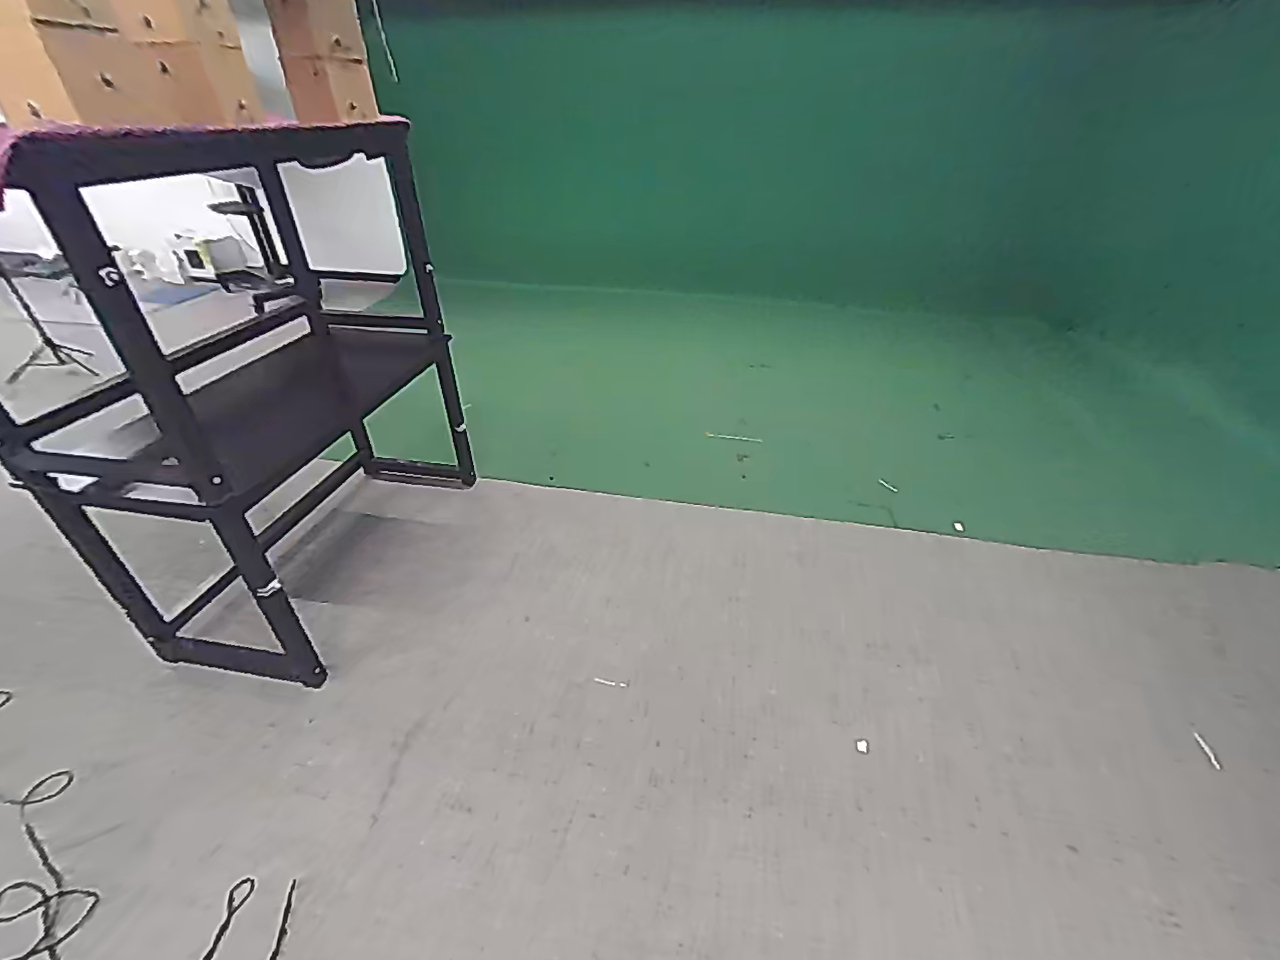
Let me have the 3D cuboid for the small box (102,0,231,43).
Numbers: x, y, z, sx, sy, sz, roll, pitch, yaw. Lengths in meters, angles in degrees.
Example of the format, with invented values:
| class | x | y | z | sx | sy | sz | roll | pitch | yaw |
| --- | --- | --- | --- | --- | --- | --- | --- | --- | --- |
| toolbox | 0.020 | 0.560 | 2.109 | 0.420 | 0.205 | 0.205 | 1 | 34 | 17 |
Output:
| class | x | y | z | sx | sy | sz | roll | pitch | yaw |
| --- | --- | --- | --- | --- | --- | --- | --- | --- | --- |
| small box | -1.076 | -1.090 | 1.210 | 0.179 | 0.176 | 0.168 | 5 | 35 | 6 |

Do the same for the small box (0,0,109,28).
| class | x | y | z | sx | sy | sz | roll | pitch | yaw |
| --- | --- | --- | --- | --- | --- | --- | --- | --- | --- |
| small box | -1.085 | -0.882 | 0.912 | 0.179 | 0.176 | 0.168 | 4 | 36 | 6 |

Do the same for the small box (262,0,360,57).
| class | x | y | z | sx | sy | sz | roll | pitch | yaw |
| --- | --- | --- | --- | --- | --- | --- | --- | --- | --- |
| small box | -0.939 | -1.314 | 1.533 | 0.179 | 0.176 | 0.168 | 17 | 40 | 18 |

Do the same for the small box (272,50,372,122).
| class | x | y | z | sx | sy | sz | roll | pitch | yaw |
| --- | --- | --- | --- | --- | --- | --- | --- | --- | --- |
| small box | -0.950 | -1.184 | 1.630 | 0.179 | 0.176 | 0.168 | 14 | 38 | 16 |
